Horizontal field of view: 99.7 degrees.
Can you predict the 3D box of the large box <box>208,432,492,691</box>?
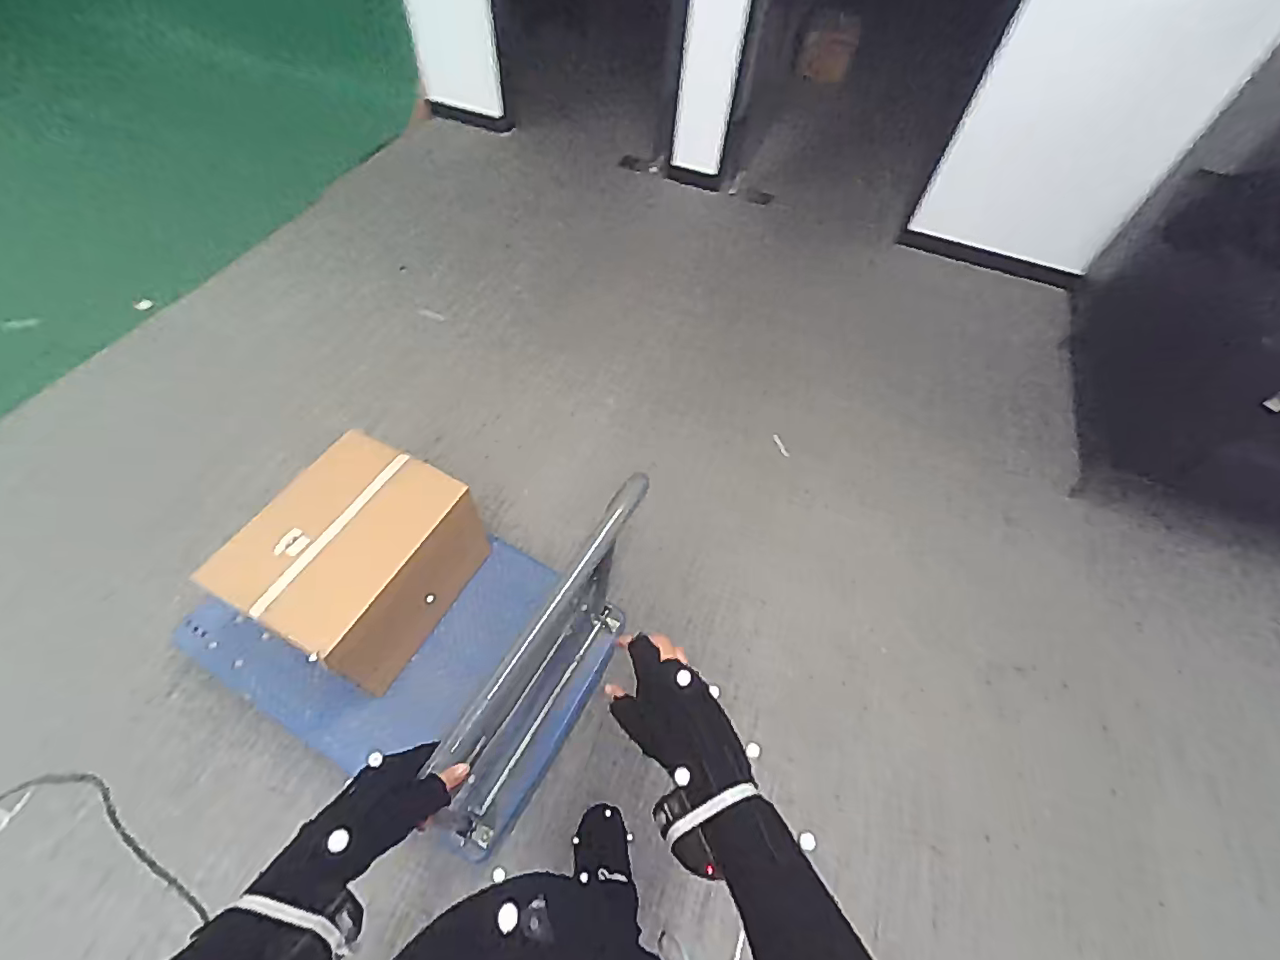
[{"bbox_3d":[-0.582,0.178,1.183,0.320,0.320,0.408,25,59,12],"label":"large box"}]
